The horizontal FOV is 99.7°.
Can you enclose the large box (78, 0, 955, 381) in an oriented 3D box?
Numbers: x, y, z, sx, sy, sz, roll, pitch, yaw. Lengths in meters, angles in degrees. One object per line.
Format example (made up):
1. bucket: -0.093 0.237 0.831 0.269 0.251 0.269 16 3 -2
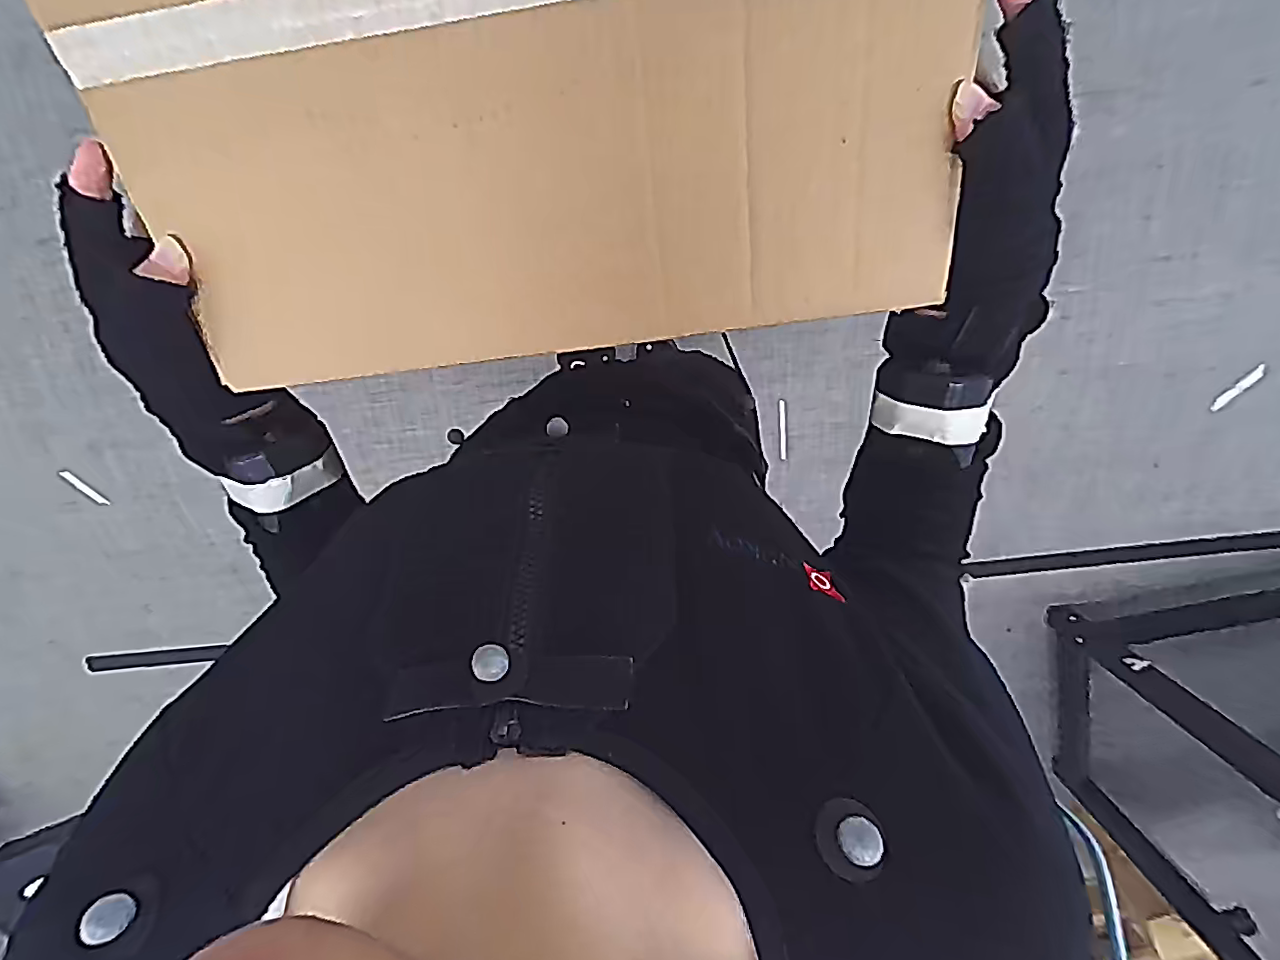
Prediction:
1. large box: -0.057 -0.284 0.378 0.408 0.320 0.320 -7 117 4
